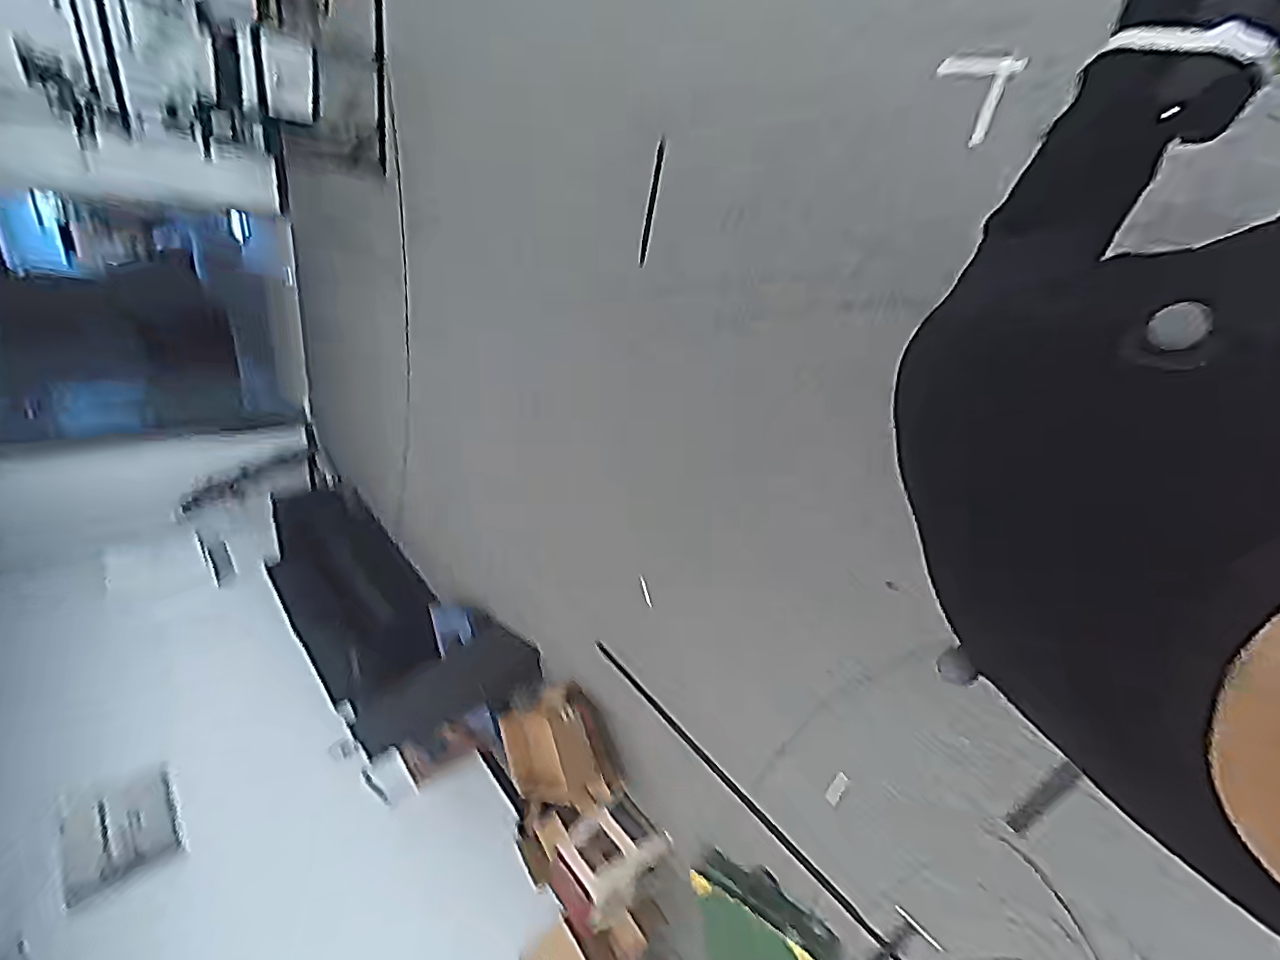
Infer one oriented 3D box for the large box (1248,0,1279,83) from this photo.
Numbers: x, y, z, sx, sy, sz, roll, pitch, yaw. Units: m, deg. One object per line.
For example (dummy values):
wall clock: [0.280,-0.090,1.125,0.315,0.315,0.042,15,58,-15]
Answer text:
large box: [0.646,-0.384,0.247,0.408,0.320,0.320,33,134,35]
